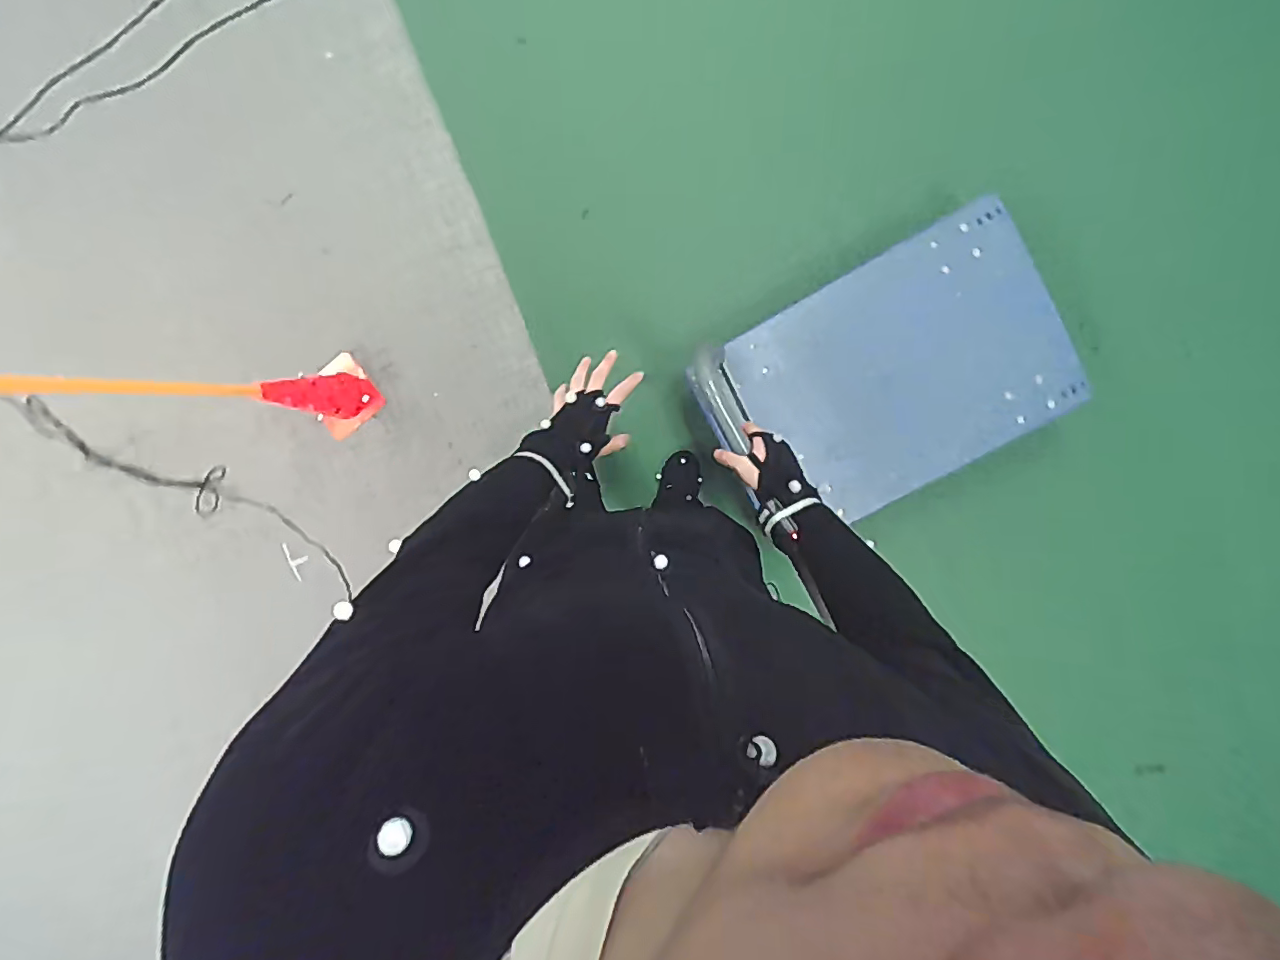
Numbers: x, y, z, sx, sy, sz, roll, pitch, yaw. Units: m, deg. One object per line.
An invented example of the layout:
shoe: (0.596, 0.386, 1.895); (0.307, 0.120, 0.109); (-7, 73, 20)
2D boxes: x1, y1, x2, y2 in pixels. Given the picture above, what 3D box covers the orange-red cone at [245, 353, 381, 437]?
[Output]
orange-red cone: (-0.915, -0.239, 1.461); (0.198, 0.360, 0.199); (-35, 92, 6)
